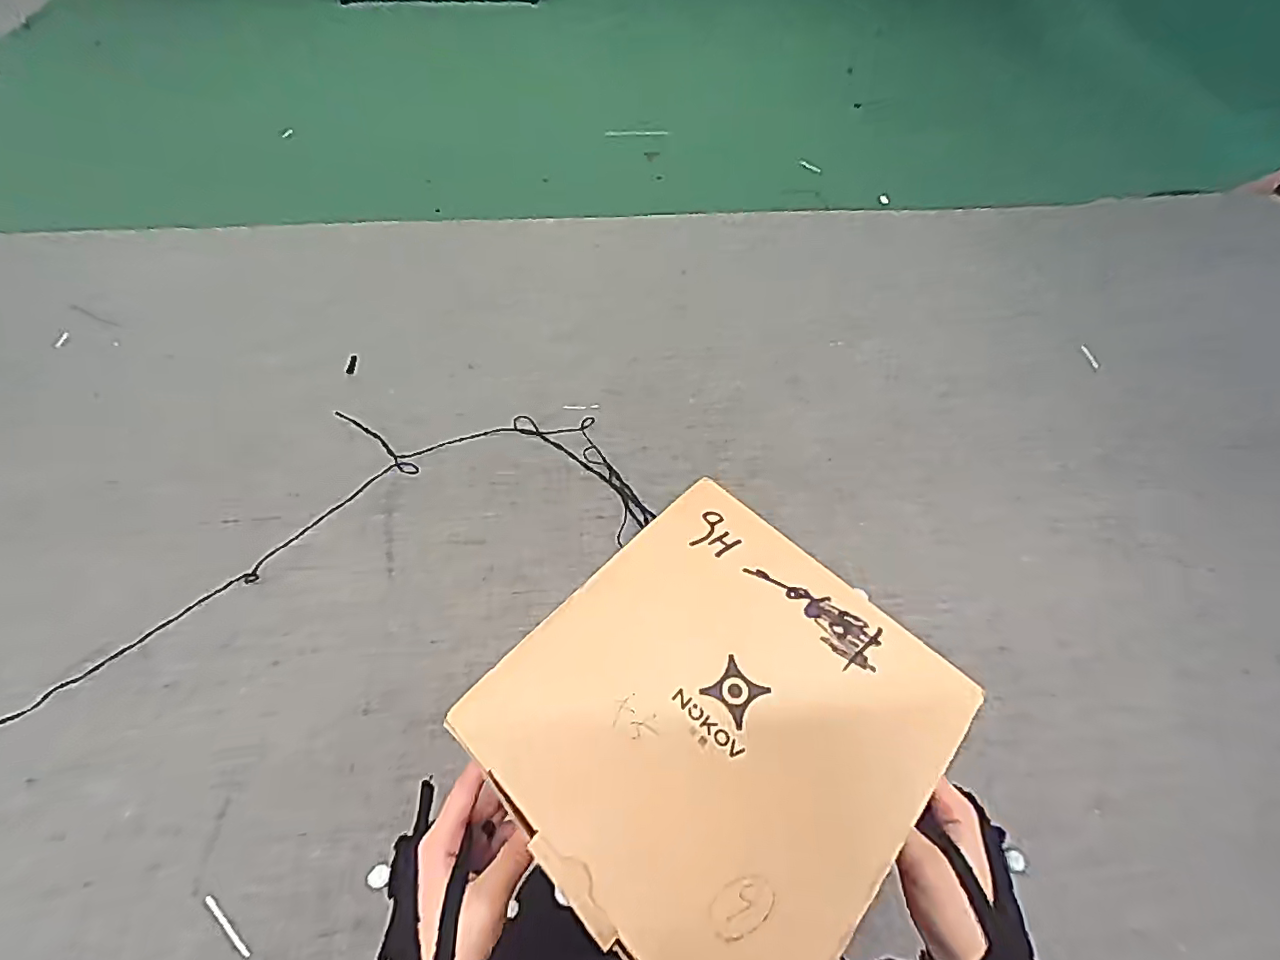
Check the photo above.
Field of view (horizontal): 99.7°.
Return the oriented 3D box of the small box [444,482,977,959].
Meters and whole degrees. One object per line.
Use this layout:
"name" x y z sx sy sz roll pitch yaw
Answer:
"small box" 0.032 0.142 0.300 0.168 0.176 0.179 40 65 22
